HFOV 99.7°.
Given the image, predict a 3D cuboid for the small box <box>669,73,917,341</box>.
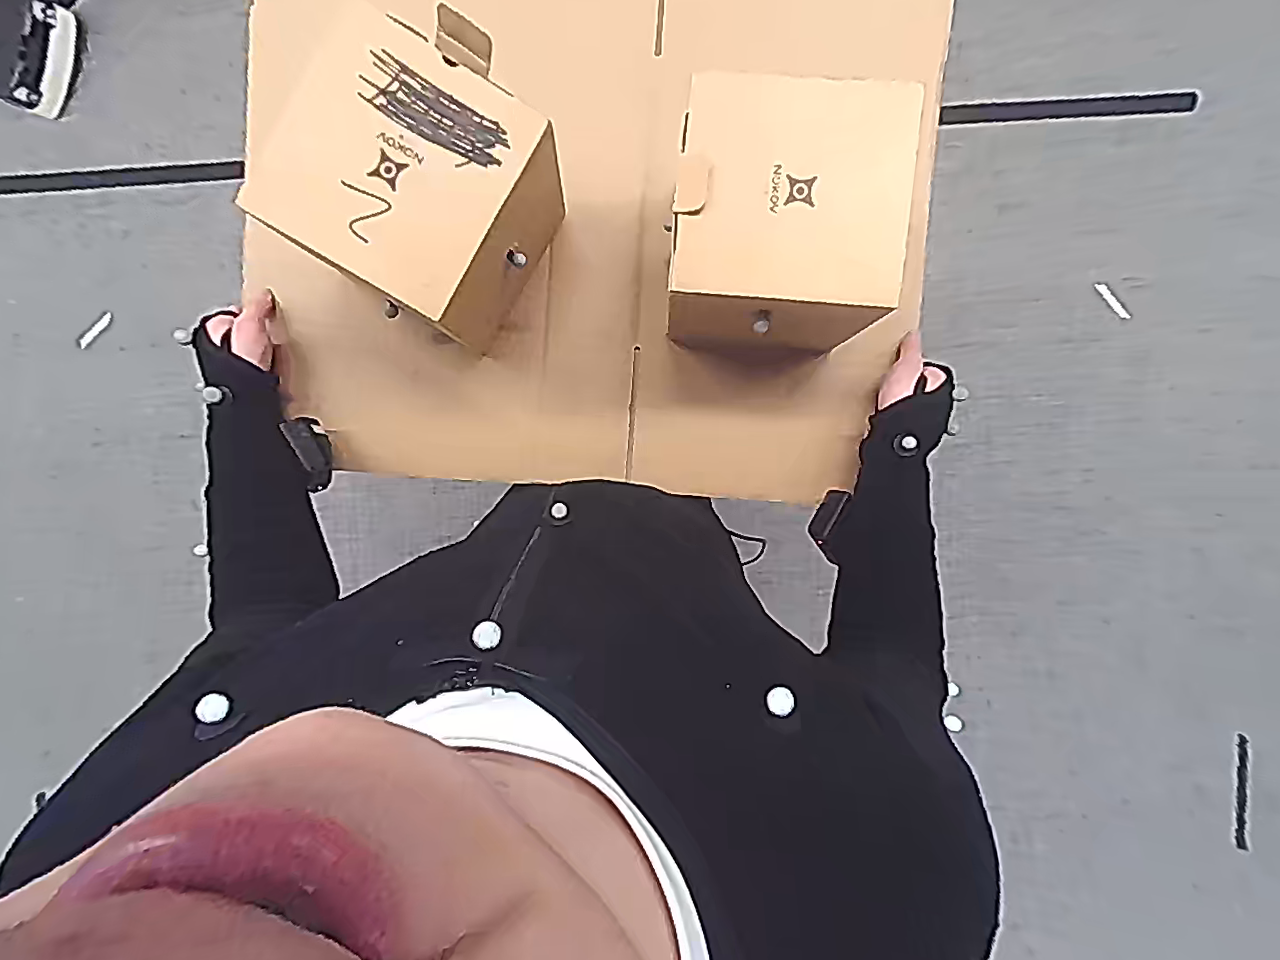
[{"bbox_3d":[0.121,-0.229,0.499,0.179,0.176,0.168,5,94,3],"label":"small box"}]
